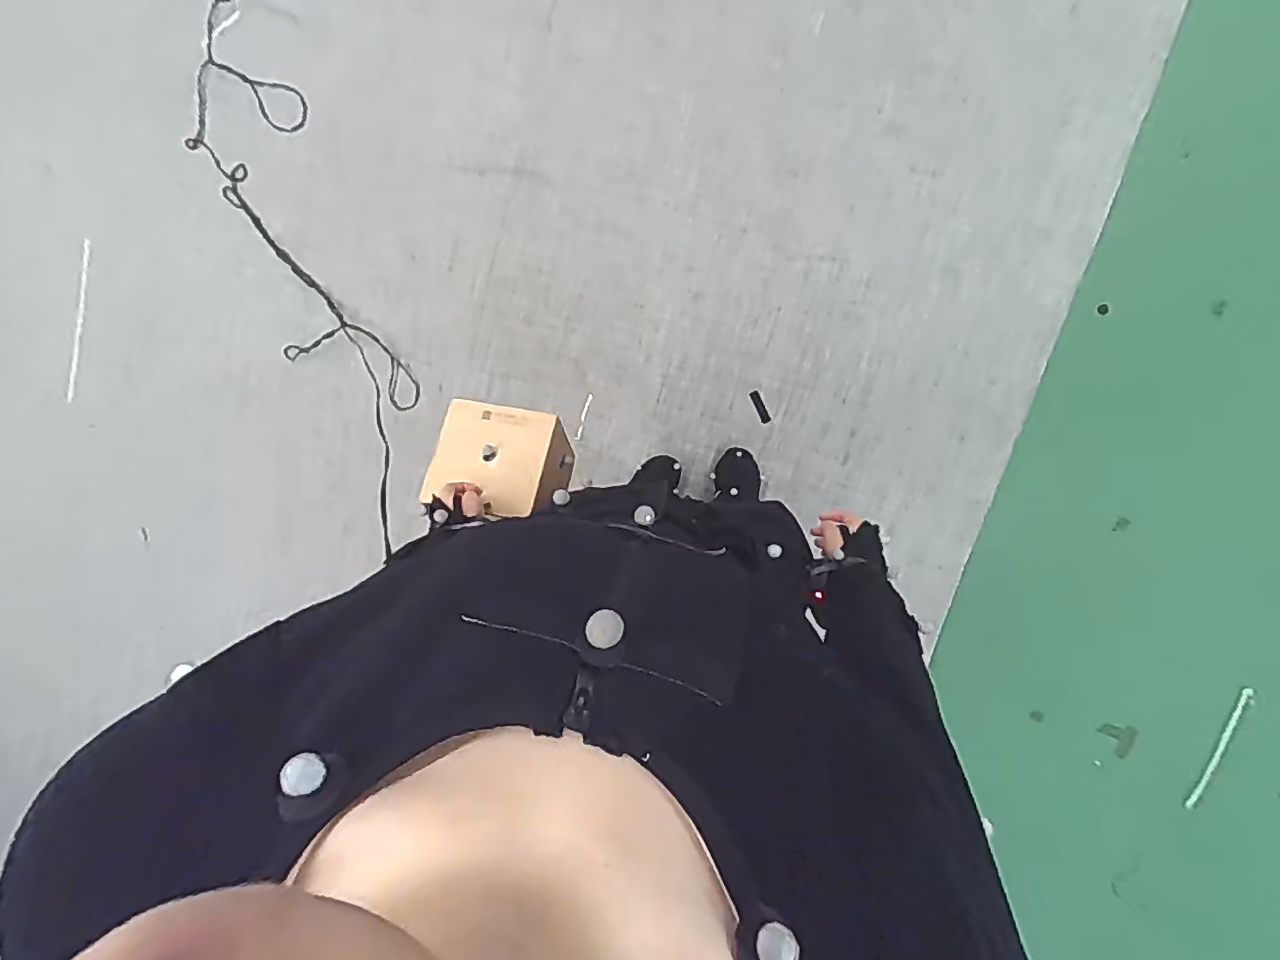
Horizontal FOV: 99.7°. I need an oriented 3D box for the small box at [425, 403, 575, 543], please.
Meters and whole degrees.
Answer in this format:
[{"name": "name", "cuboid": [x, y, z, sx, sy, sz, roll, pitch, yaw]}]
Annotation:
[{"name": "small box", "cuboid": [-0.208, -0.009, 0.855, 0.168, 0.179, 0.176, 7, 72, 6]}]
